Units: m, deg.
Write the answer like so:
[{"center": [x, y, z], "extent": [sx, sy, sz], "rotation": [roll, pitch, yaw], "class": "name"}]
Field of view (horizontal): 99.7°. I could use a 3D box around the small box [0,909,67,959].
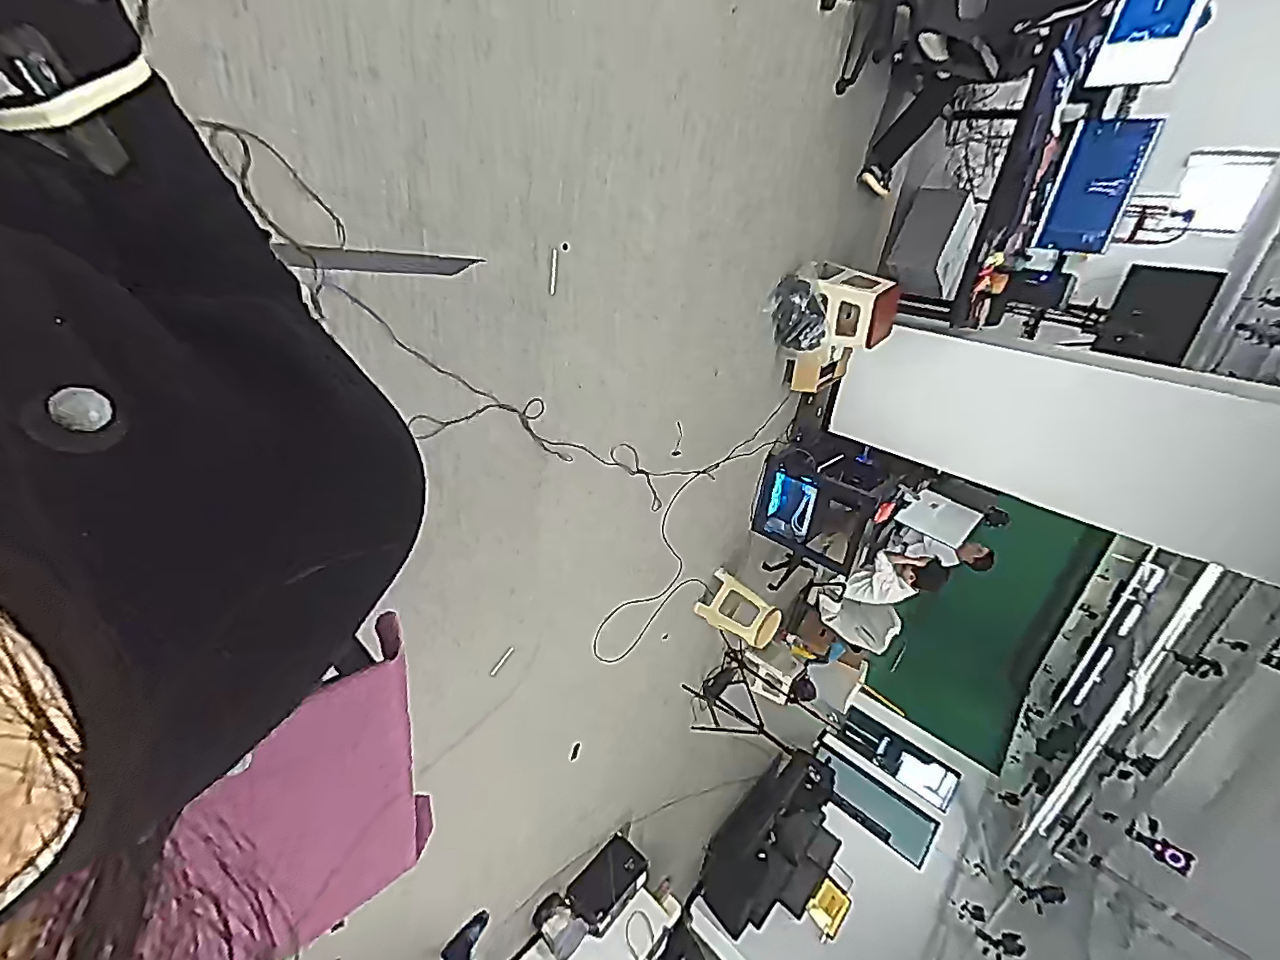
[{"center": [-0.778, 0.662, 0.624], "extent": [0.168, 0.176, 0.179], "rotation": [-18, 125, -48], "class": "small box"}]
